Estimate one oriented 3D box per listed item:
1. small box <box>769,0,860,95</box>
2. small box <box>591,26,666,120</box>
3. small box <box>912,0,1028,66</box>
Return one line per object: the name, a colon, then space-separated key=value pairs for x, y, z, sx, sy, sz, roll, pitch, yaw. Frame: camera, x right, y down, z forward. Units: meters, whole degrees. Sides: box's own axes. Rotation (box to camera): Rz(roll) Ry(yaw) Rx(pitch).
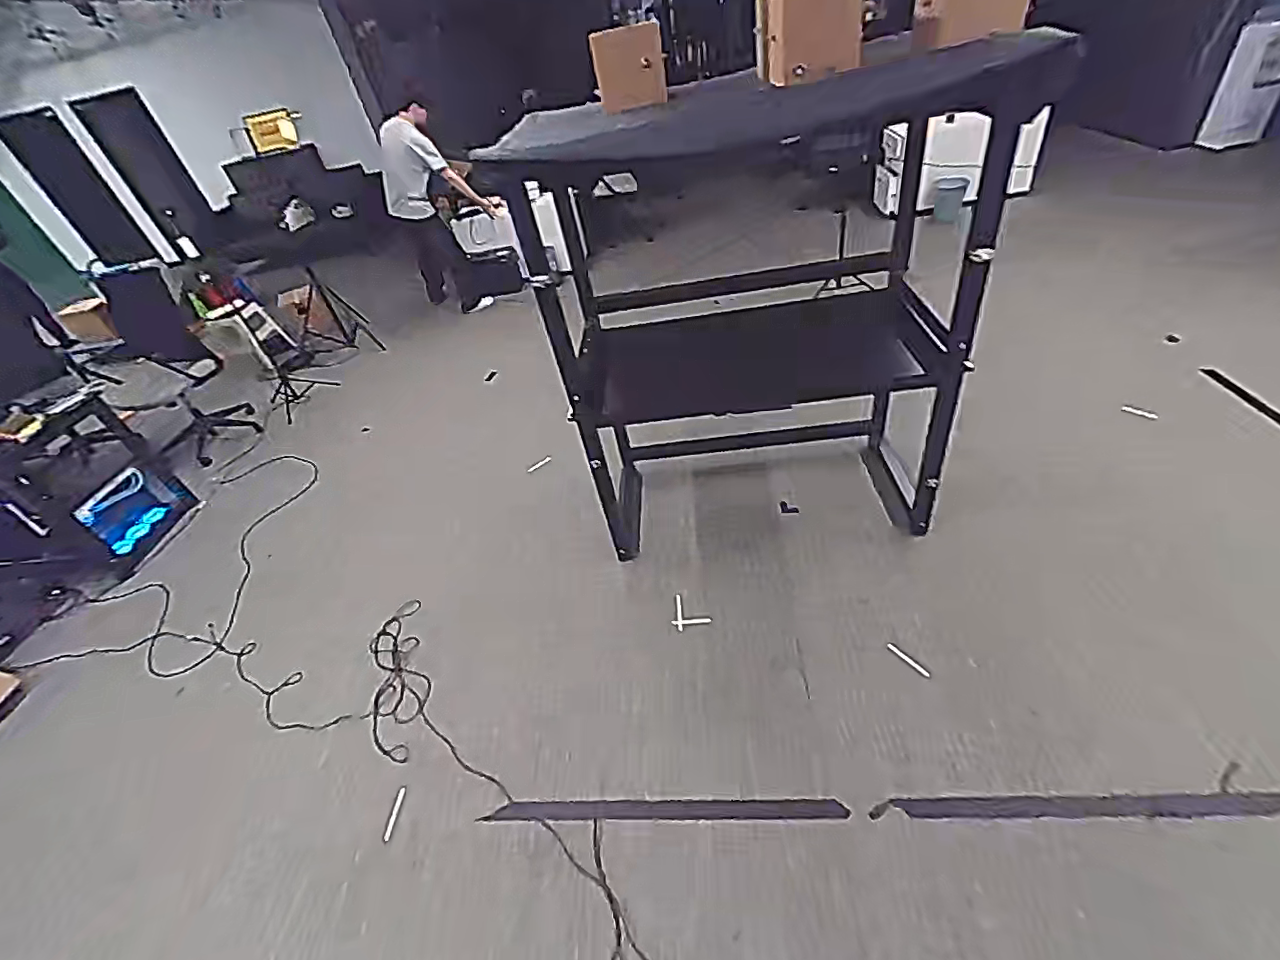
small box: x=0.392 y=-0.995 z=1.228 sx=0.168 sy=0.176 sz=0.179 roll=-7 pitch=40 yaw=7
small box: x=-0.025 y=-1.087 z=1.444 sx=0.179 sy=0.176 sz=0.168 roll=-8 pitch=41 yaw=5
small box: x=0.704 y=-1.009 z=1.159 sx=0.168 sy=0.176 sz=0.179 roll=-7 pitch=39 yaw=8
